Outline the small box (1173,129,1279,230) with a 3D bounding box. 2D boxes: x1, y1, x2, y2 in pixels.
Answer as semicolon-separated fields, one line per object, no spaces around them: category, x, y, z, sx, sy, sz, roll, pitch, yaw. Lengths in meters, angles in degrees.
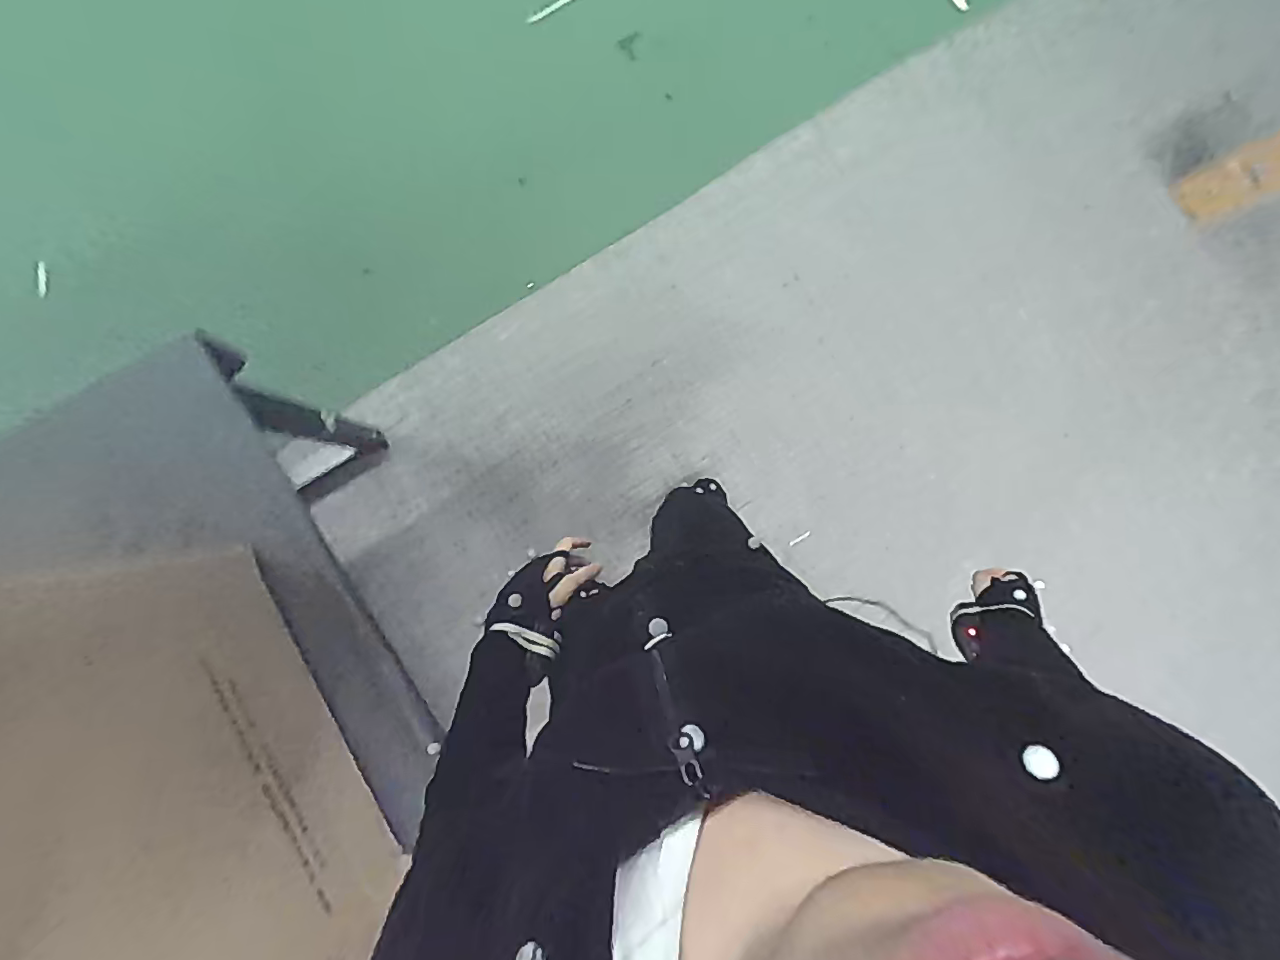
small box;1.777;-0.895;1.631;0.179;0.176;0.168;-33;91;-5
